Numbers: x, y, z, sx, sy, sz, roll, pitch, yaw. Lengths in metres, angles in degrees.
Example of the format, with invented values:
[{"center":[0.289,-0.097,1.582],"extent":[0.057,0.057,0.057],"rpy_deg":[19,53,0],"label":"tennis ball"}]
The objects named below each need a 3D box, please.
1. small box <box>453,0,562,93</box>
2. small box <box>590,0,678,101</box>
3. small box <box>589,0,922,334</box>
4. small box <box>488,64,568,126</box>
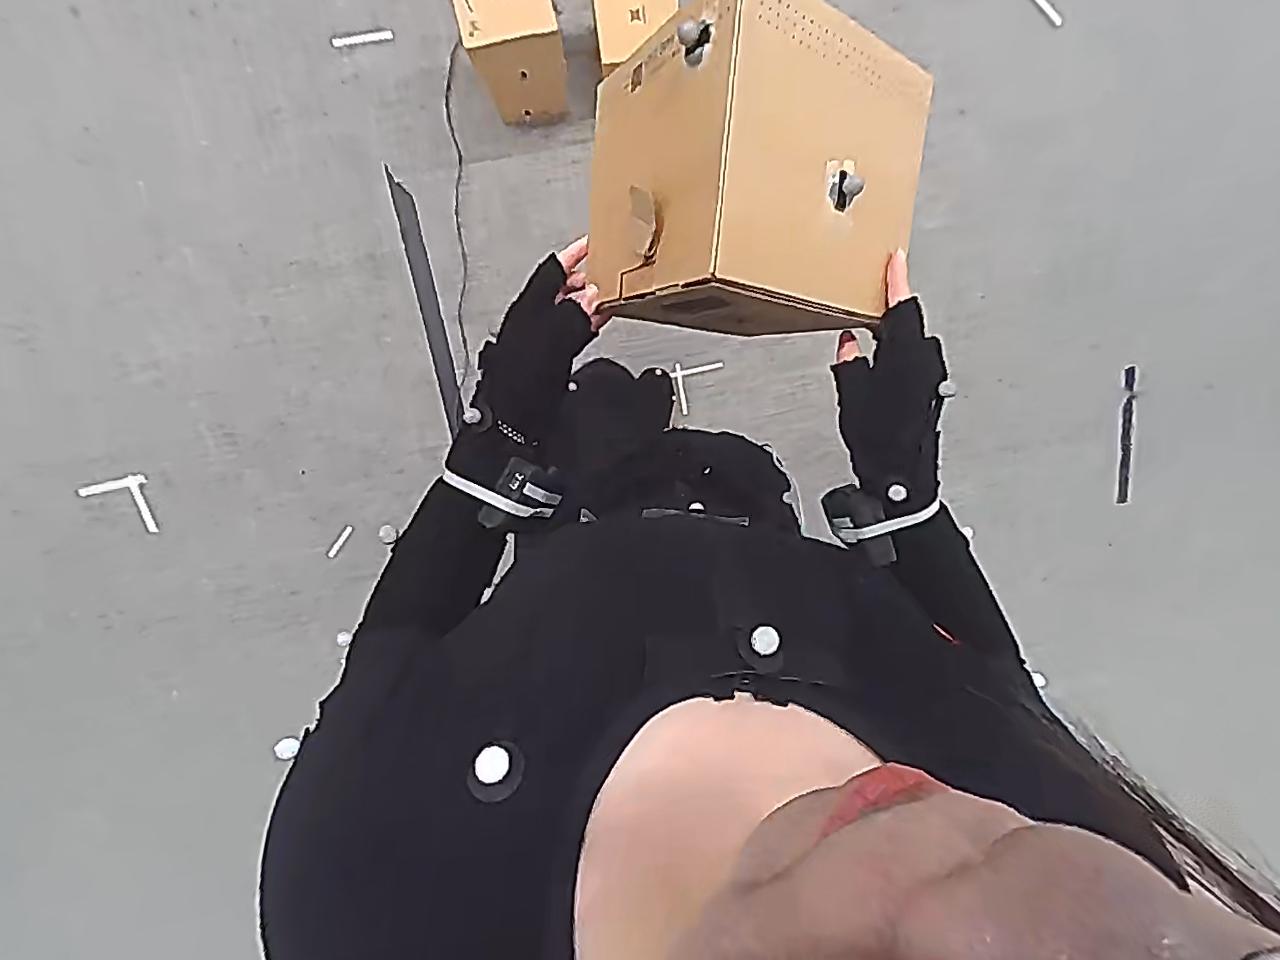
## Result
[{"center":[-0.250,-0.879,1.031],"extent":[0.179,0.176,0.168],"rpy_deg":[-11,103,-1],"label":"small box"},{"center":[-0.014,-0.971,1.196],"extent":[0.179,0.176,0.168],"rpy_deg":[-9,103,-3],"label":"small box"},{"center":[0.078,-0.212,0.402],"extent":[0.179,0.168,0.176],"rpy_deg":[-1,100,-32],"label":"small box"},{"center":[-0.259,-0.920,1.190],"extent":[0.168,0.176,0.179],"rpy_deg":[-10,104,0],"label":"small box"}]
